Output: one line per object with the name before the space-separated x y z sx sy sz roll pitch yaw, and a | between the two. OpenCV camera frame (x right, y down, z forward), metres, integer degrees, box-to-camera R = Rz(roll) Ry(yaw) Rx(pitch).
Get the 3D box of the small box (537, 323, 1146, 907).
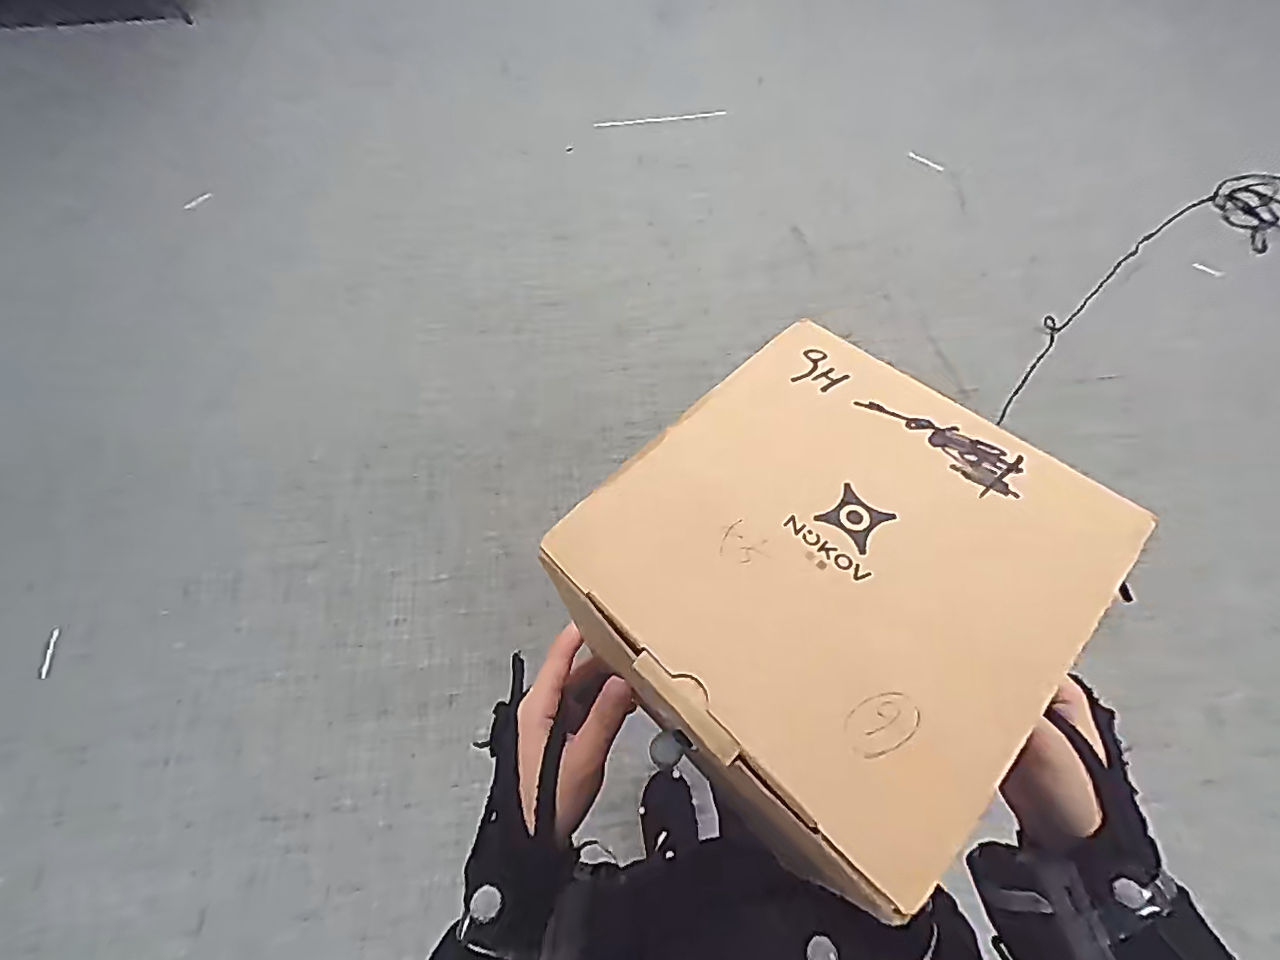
small box | 0.080 0.063 0.277 0.179 0.176 0.168 -41 64 -19
